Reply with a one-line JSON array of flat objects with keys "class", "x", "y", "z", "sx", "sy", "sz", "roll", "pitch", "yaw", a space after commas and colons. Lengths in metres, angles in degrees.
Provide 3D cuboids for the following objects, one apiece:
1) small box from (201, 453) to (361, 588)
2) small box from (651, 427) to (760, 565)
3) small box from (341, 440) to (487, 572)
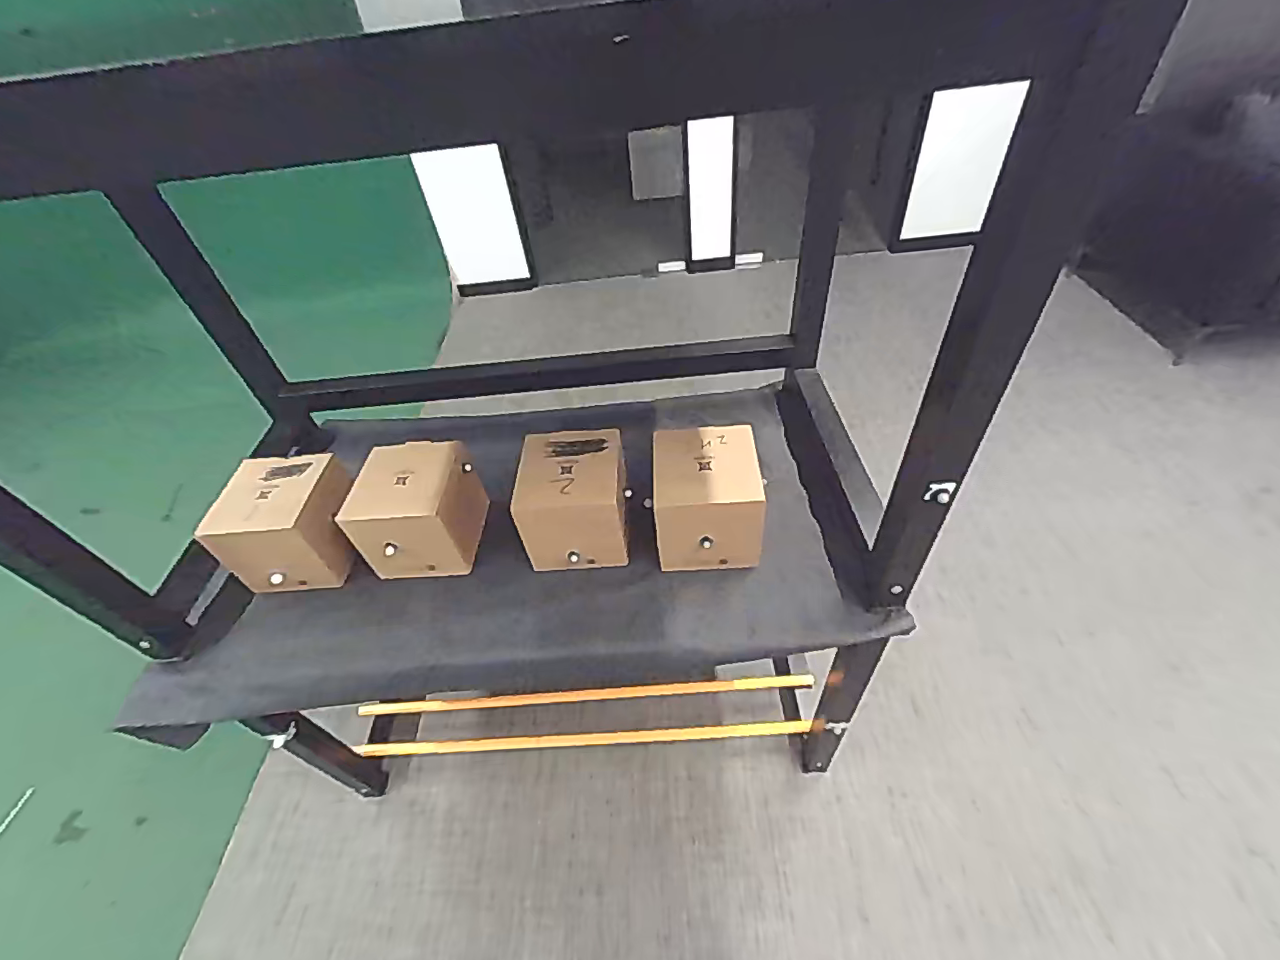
[{"class": "small box", "x": -0.612, "y": 0.073, "z": 0.968, "sx": 0.168, "sy": 0.176, "sz": 0.179, "roll": -4, "pitch": 46, "yaw": 3}, {"class": "small box", "x": 0.108, "y": 0.032, "z": 0.915, "sx": 0.168, "sy": 0.176, "sz": 0.179, "roll": -3, "pitch": 45, "yaw": 4}, {"class": "small box", "x": -0.386, "y": 0.053, "z": 0.963, "sx": 0.168, "sy": 0.176, "sz": 0.179, "roll": -3, "pitch": 45, "yaw": 4}]
